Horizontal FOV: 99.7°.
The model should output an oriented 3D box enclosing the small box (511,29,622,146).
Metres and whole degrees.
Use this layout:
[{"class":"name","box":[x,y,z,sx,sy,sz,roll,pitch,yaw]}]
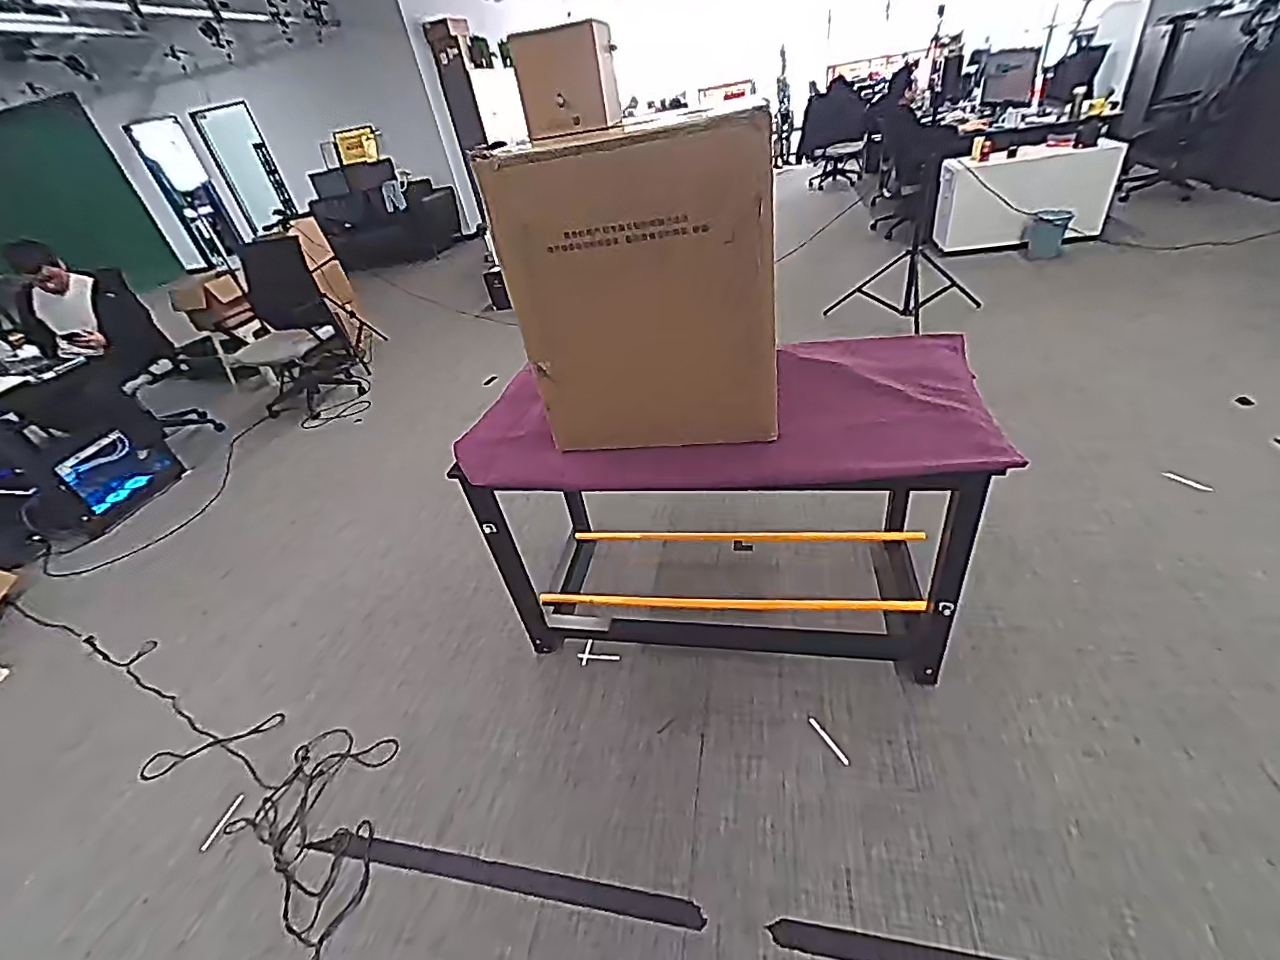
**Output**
[{"class":"small box","box":[-0.138,-0.790,1.098,0.168,0.176,0.179,-2,37,13]}]
